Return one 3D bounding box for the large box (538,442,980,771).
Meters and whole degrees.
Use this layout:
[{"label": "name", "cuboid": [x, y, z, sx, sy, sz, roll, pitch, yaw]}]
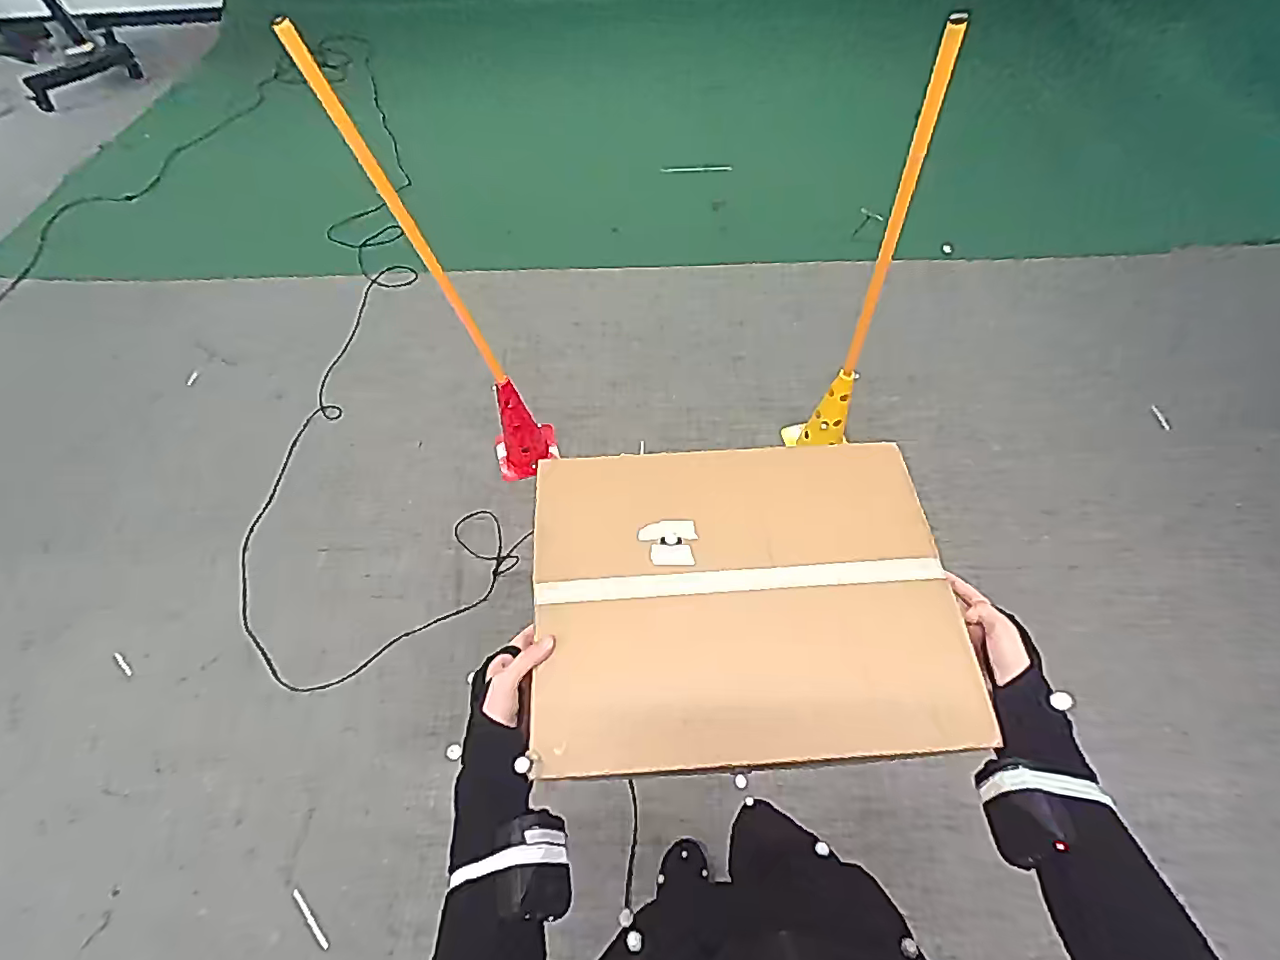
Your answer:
[{"label": "large box", "cuboid": [0.102, 0.175, 0.678, 0.408, 0.320, 0.320, -4, 60, -1]}]
